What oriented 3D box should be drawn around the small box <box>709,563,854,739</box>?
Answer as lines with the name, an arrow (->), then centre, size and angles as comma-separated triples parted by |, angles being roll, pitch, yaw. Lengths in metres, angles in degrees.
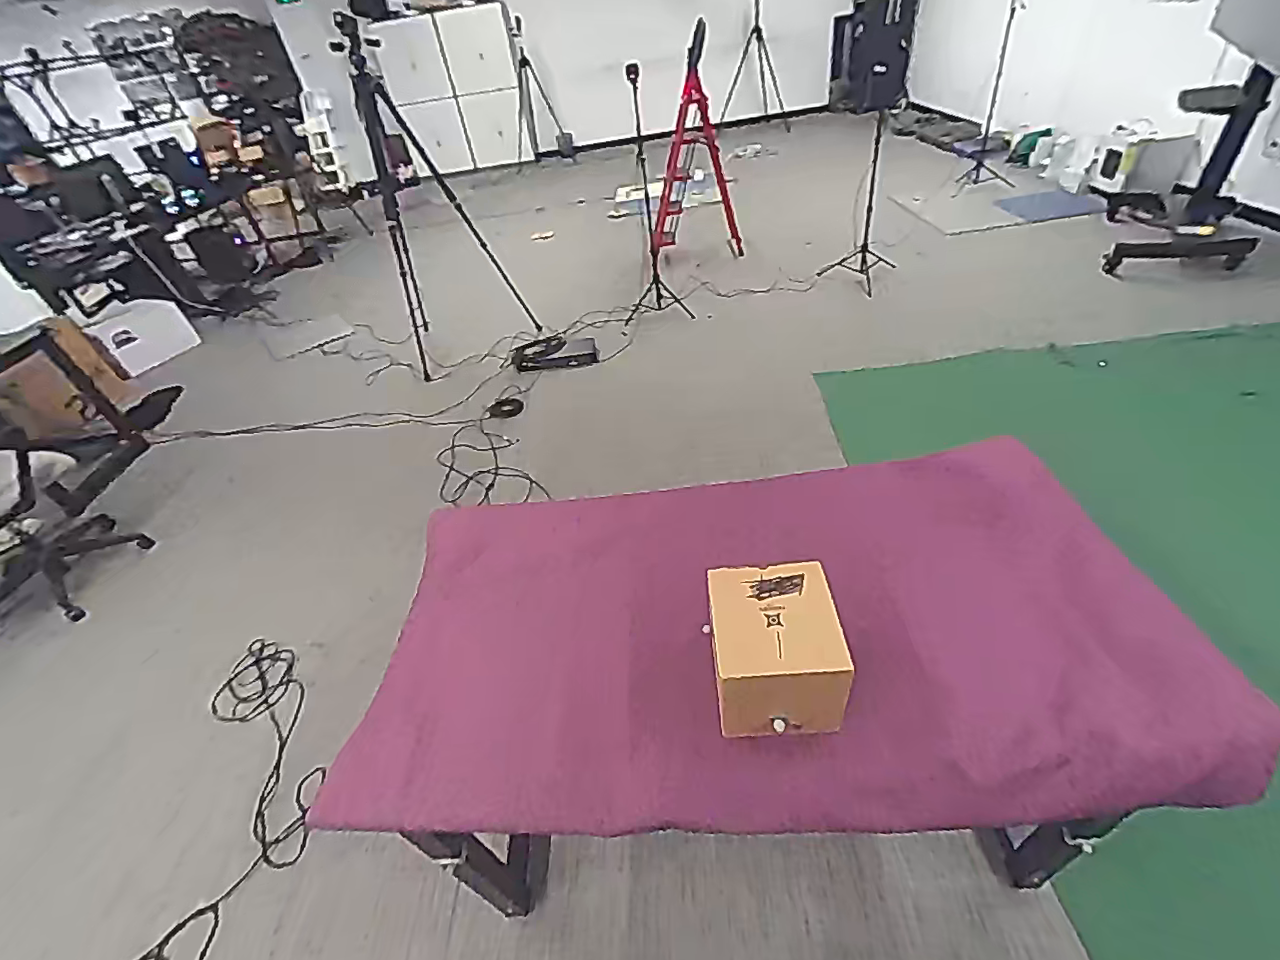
small box -> 0.188, 0.241, 0.767 | 0.168, 0.176, 0.179 | -6, 41, 6
